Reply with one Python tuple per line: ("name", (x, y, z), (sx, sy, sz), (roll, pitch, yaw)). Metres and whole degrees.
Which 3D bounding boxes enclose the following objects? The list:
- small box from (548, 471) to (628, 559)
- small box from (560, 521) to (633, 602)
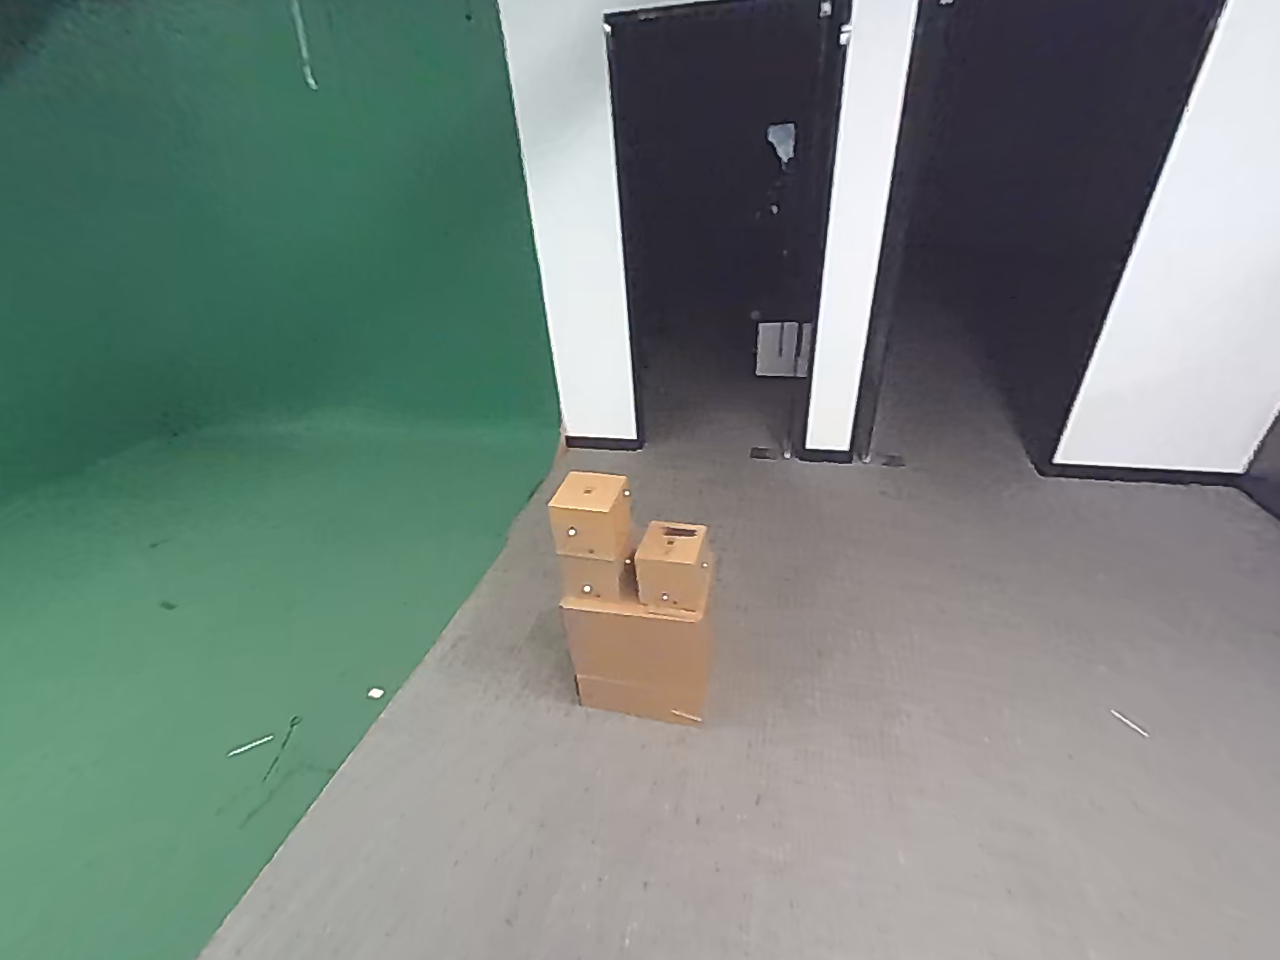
("small box", (-0.133, 0.096, 1.486), (0.168, 0.176, 0.179), (5, 34, 13))
("small box", (-0.120, 0.227, 1.582), (0.168, 0.176, 0.179), (6, 35, 14))
